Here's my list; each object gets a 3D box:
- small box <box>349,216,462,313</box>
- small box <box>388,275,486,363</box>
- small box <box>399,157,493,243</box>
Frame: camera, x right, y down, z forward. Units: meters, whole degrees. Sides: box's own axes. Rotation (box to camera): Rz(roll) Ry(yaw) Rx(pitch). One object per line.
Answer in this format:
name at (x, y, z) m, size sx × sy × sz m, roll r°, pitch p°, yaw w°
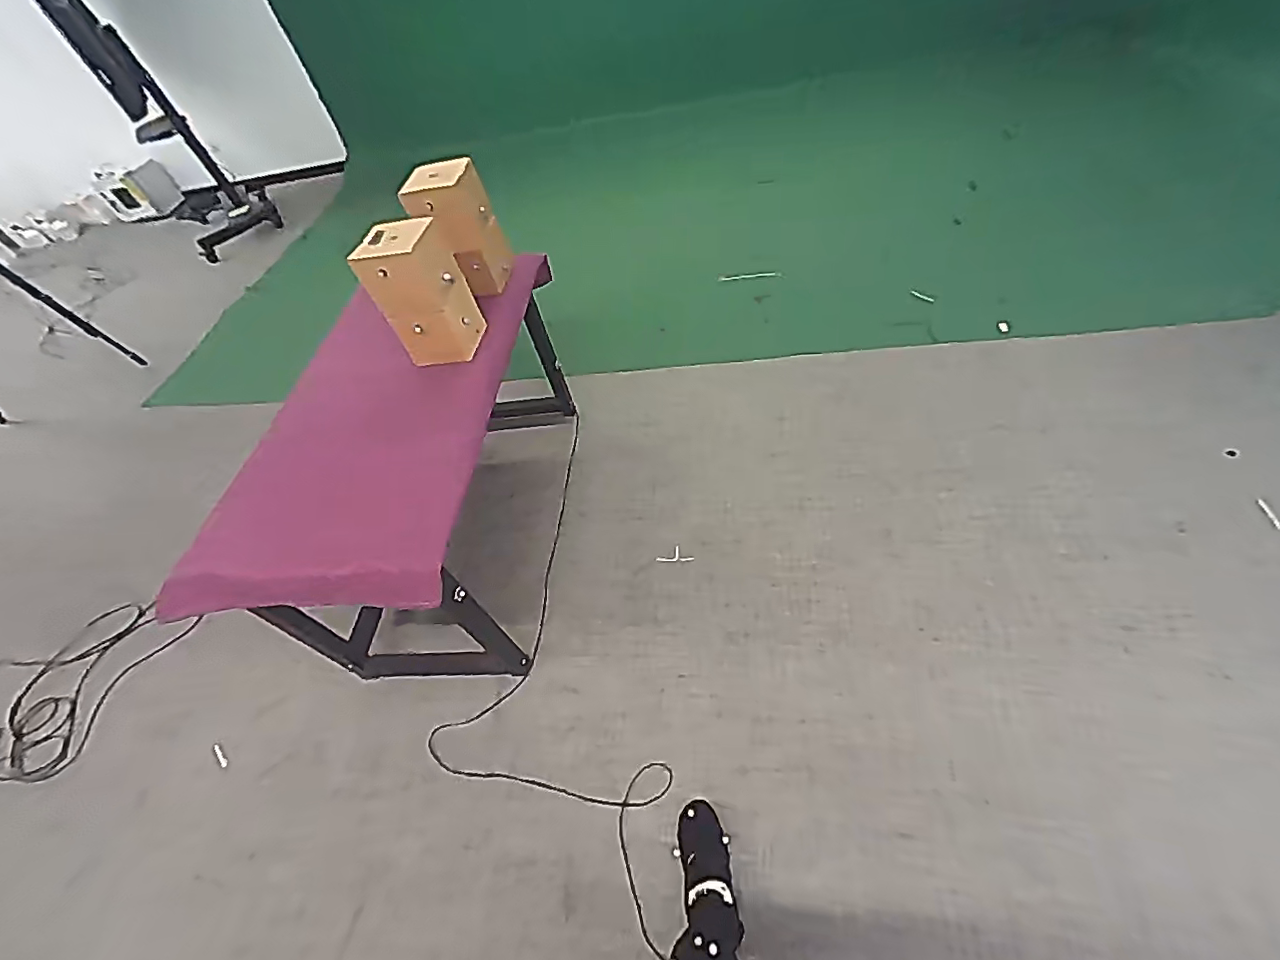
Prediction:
small box at (-0.590, -0.545, 1.384) m, size 0.179 × 0.176 × 0.168 m, roll -1°, pitch 53°, yaw 13°
small box at (-0.555, -0.445, 1.510) m, size 0.179 × 0.176 × 0.168 m, roll -2°, pitch 52°, yaw 13°
small box at (-0.558, -0.806, 1.576) m, size 0.179 × 0.176 × 0.168 m, roll -2°, pitch 53°, yaw 12°
